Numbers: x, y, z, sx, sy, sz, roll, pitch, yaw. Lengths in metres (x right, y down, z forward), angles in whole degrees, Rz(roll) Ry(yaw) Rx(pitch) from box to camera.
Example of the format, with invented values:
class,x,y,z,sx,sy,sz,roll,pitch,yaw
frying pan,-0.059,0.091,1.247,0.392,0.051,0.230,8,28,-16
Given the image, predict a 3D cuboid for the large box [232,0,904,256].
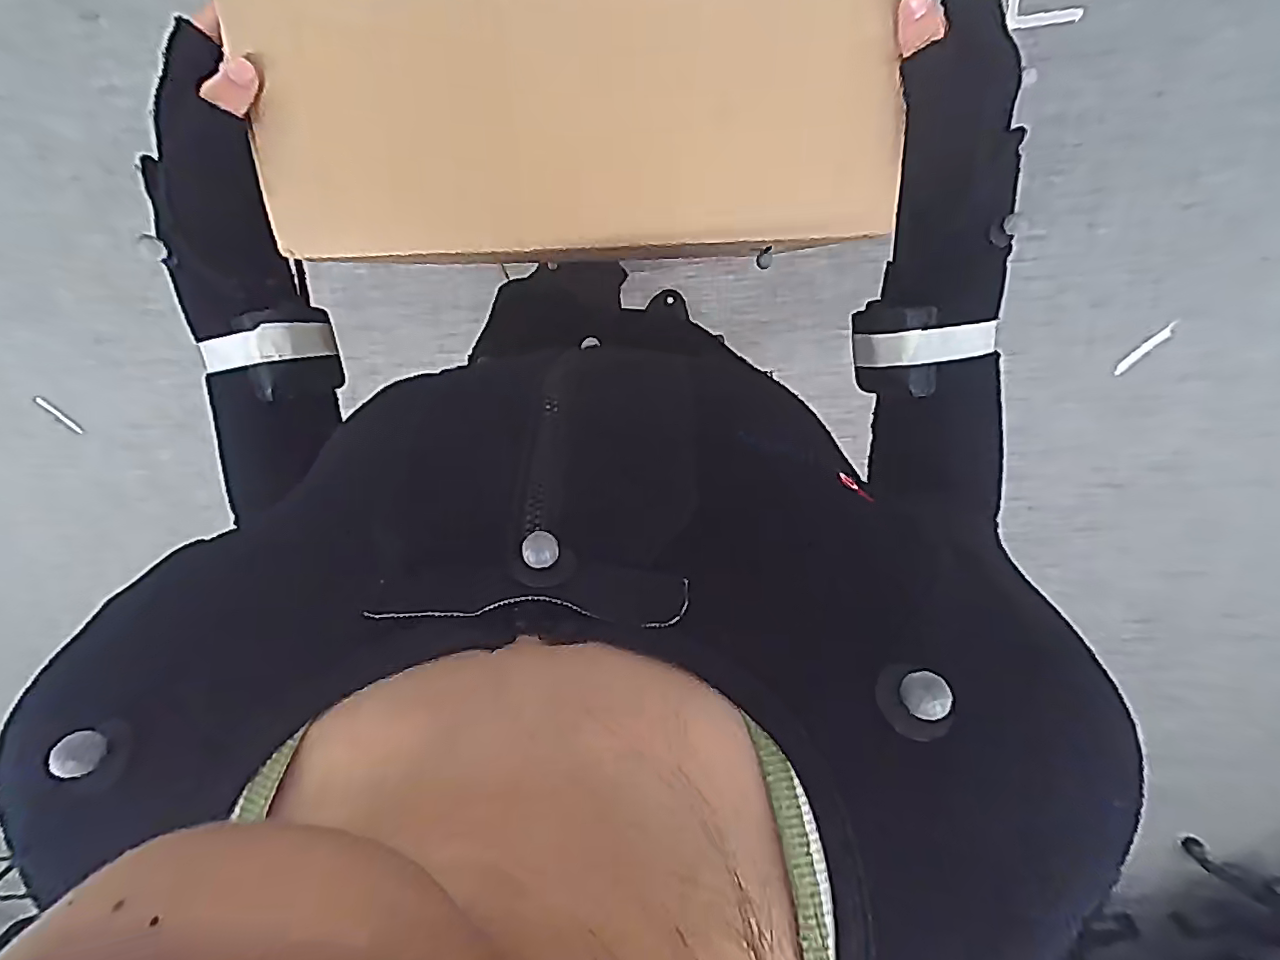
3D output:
class,x,y,z,sx,sy,sz,roll,pitch,yaw
large box,-0.041,-0.361,0.448,0.408,0.320,0.320,-2,111,1
